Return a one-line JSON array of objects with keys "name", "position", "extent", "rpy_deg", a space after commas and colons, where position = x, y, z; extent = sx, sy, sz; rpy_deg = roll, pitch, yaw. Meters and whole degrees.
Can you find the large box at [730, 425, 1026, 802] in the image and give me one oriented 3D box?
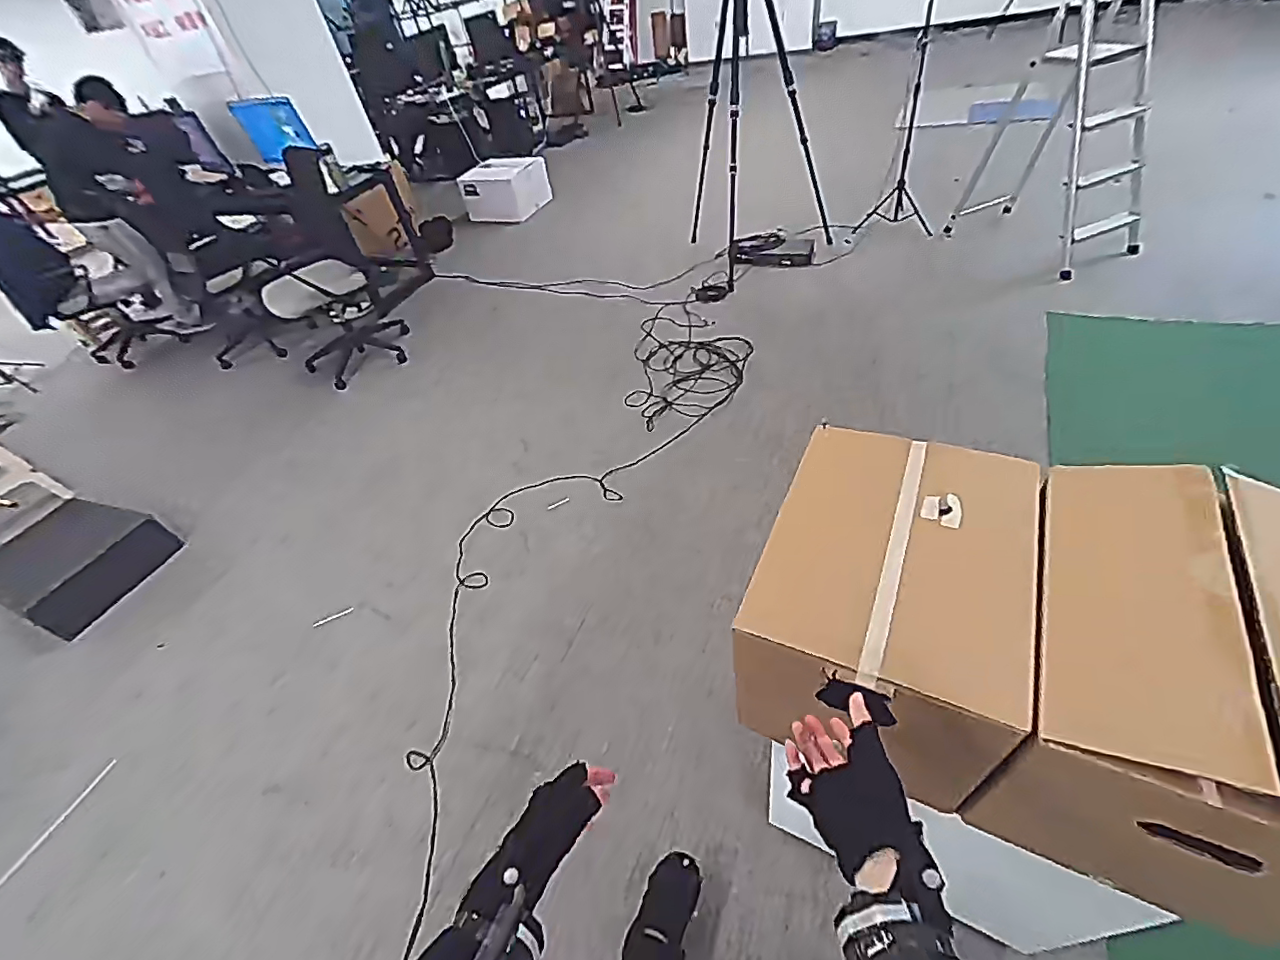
[{"name": "large box", "position": [0.352, 0.179, 0.816], "extent": [0.320, 0.320, 0.408], "rpy_deg": [14, 50, 25]}]
